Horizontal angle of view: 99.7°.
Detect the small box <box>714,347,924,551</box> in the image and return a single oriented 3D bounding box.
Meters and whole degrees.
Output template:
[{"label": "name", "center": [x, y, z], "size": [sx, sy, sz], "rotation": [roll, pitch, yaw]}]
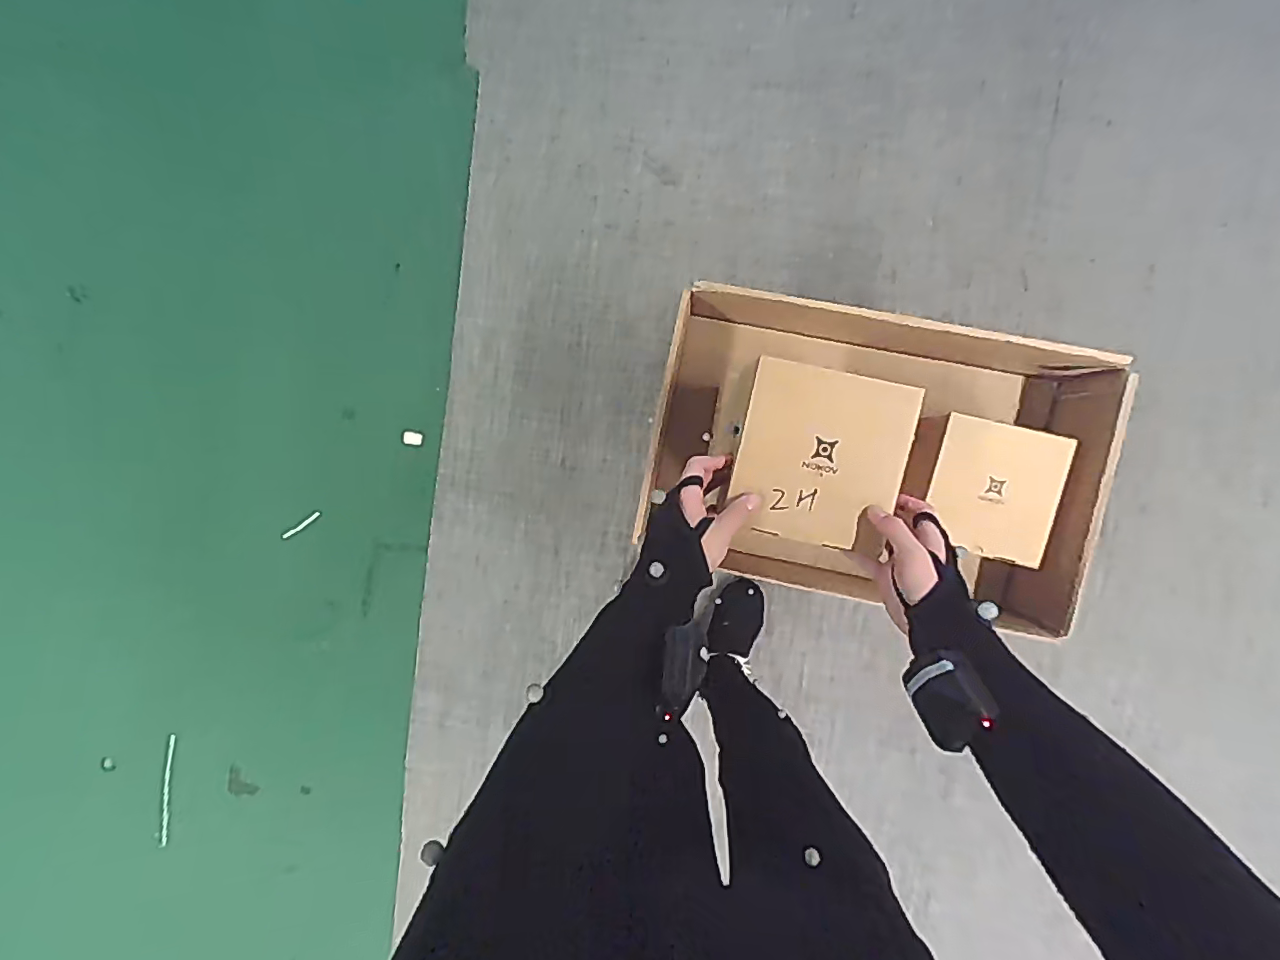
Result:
[{"label": "small box", "center": [0.185, -0.036, 0.616], "size": [0.168, 0.176, 0.179], "rotation": [13, 96, 3]}]
